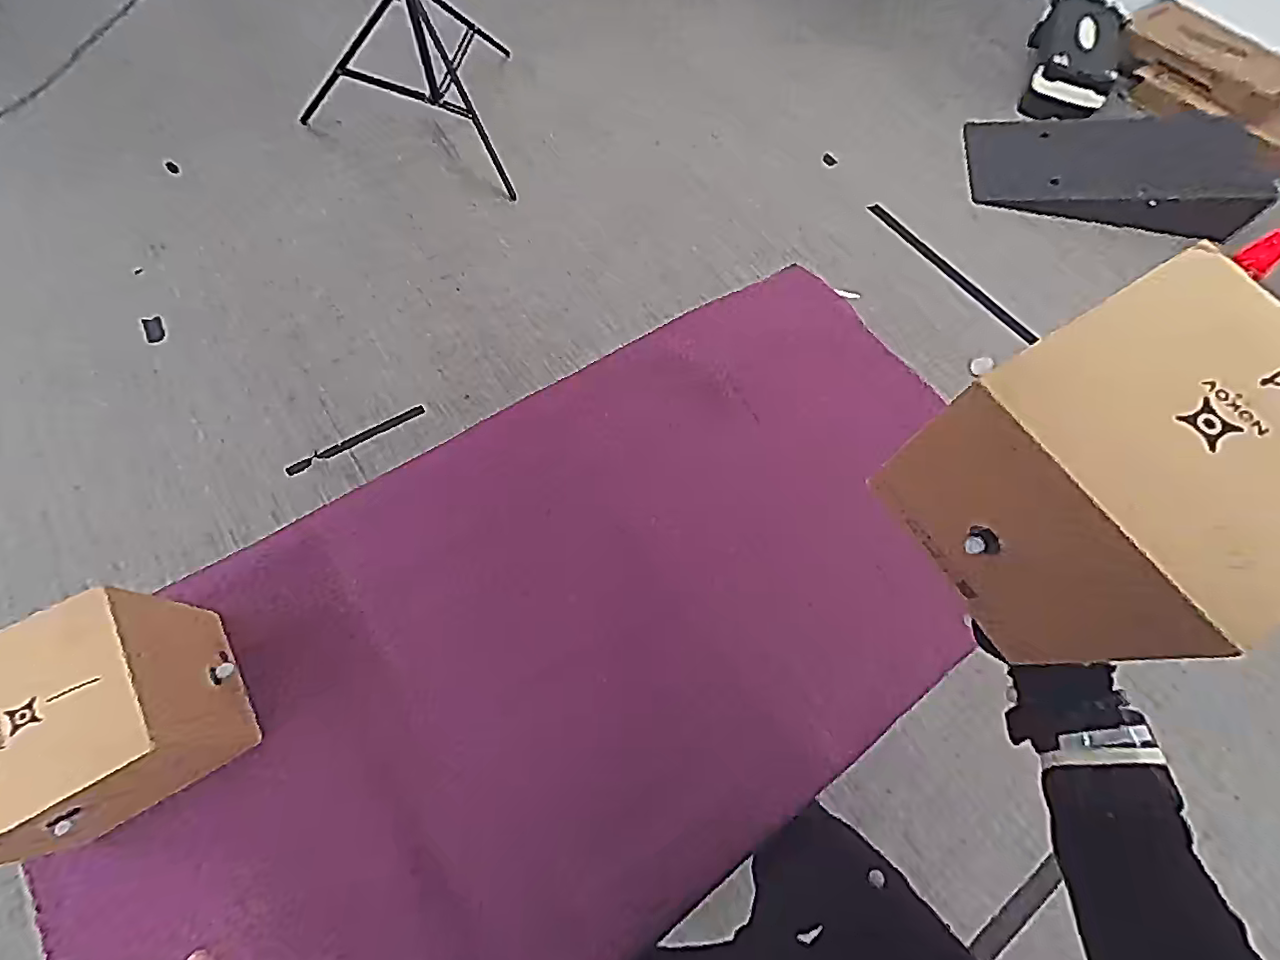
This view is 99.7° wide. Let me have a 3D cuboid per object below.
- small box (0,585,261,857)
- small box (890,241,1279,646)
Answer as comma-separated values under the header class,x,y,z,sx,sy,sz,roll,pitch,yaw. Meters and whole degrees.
class,x,y,z,sx,sy,sz,roll,pitch,yaw
small box,-0.519,0.229,0.519,0.179,0.176,0.168,-29,73,-16
small box,0.296,-0.007,0.353,0.179,0.176,0.168,-30,73,-9
